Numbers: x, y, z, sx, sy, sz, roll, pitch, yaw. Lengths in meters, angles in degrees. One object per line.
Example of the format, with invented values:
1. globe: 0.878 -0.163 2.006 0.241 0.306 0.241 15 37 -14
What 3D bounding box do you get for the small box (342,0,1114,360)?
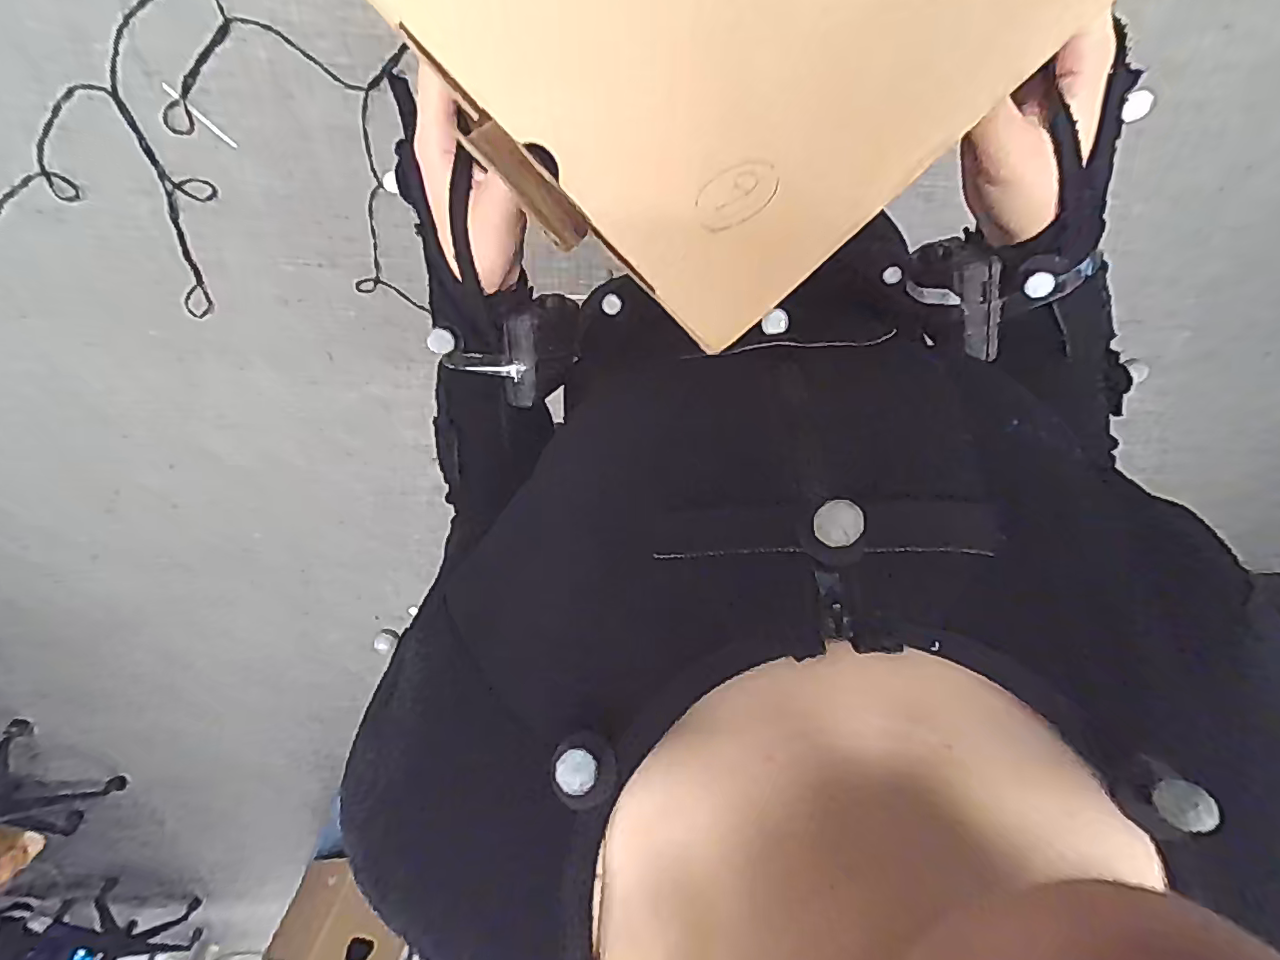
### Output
1. small box: 0.035 -0.184 0.209 0.168 0.176 0.179 42 119 -16
